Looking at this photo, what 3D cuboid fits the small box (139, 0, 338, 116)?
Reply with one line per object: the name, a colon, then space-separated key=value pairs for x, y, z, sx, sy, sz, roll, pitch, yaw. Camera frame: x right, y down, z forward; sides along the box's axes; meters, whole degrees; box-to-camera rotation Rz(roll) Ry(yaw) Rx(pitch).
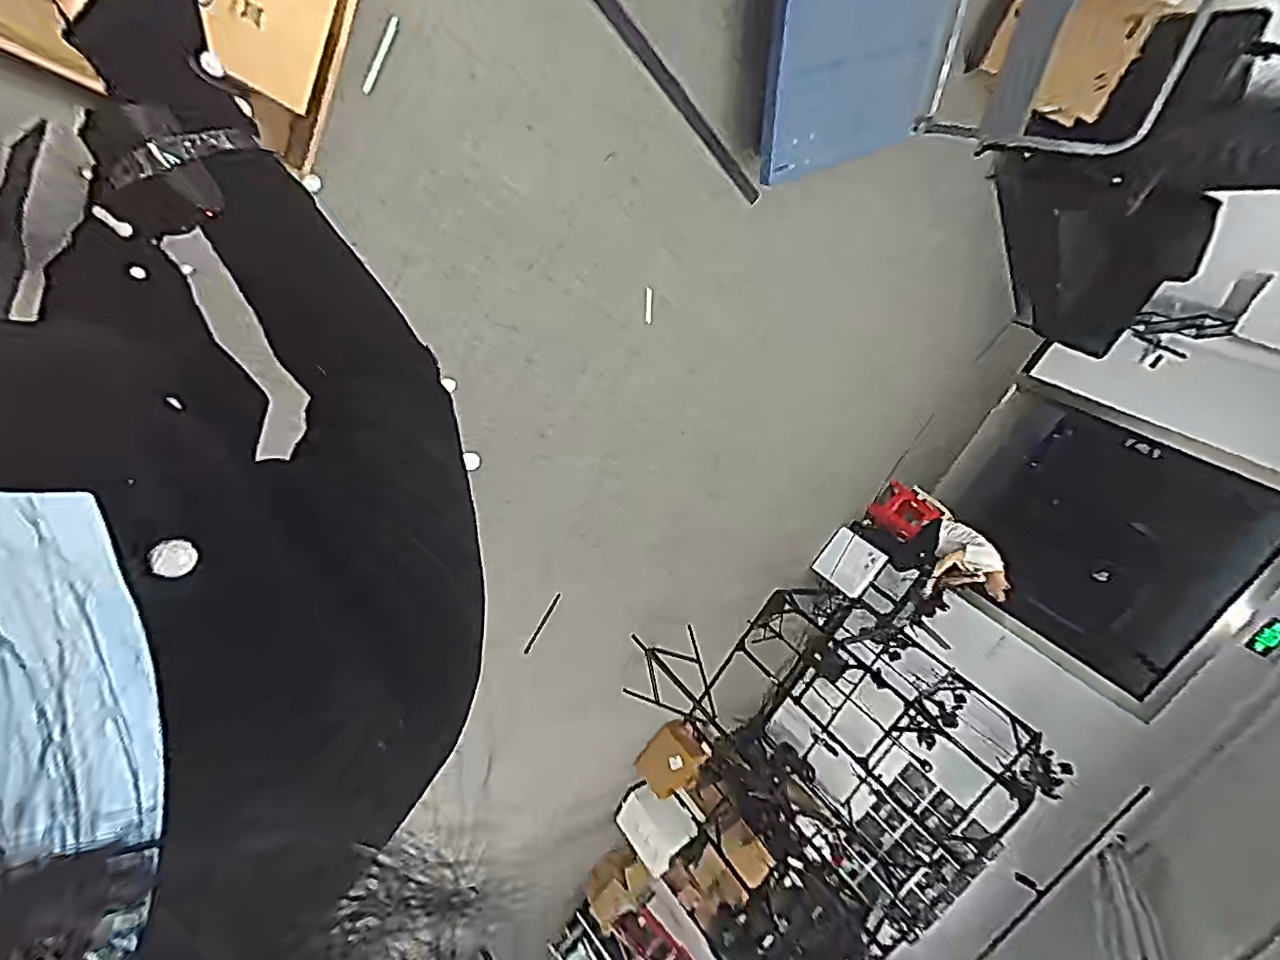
small box: x=-0.555 y=-0.648 z=0.745 sx=0.179 sy=0.176 sz=0.168 roll=10 pitch=114 yaw=-49
